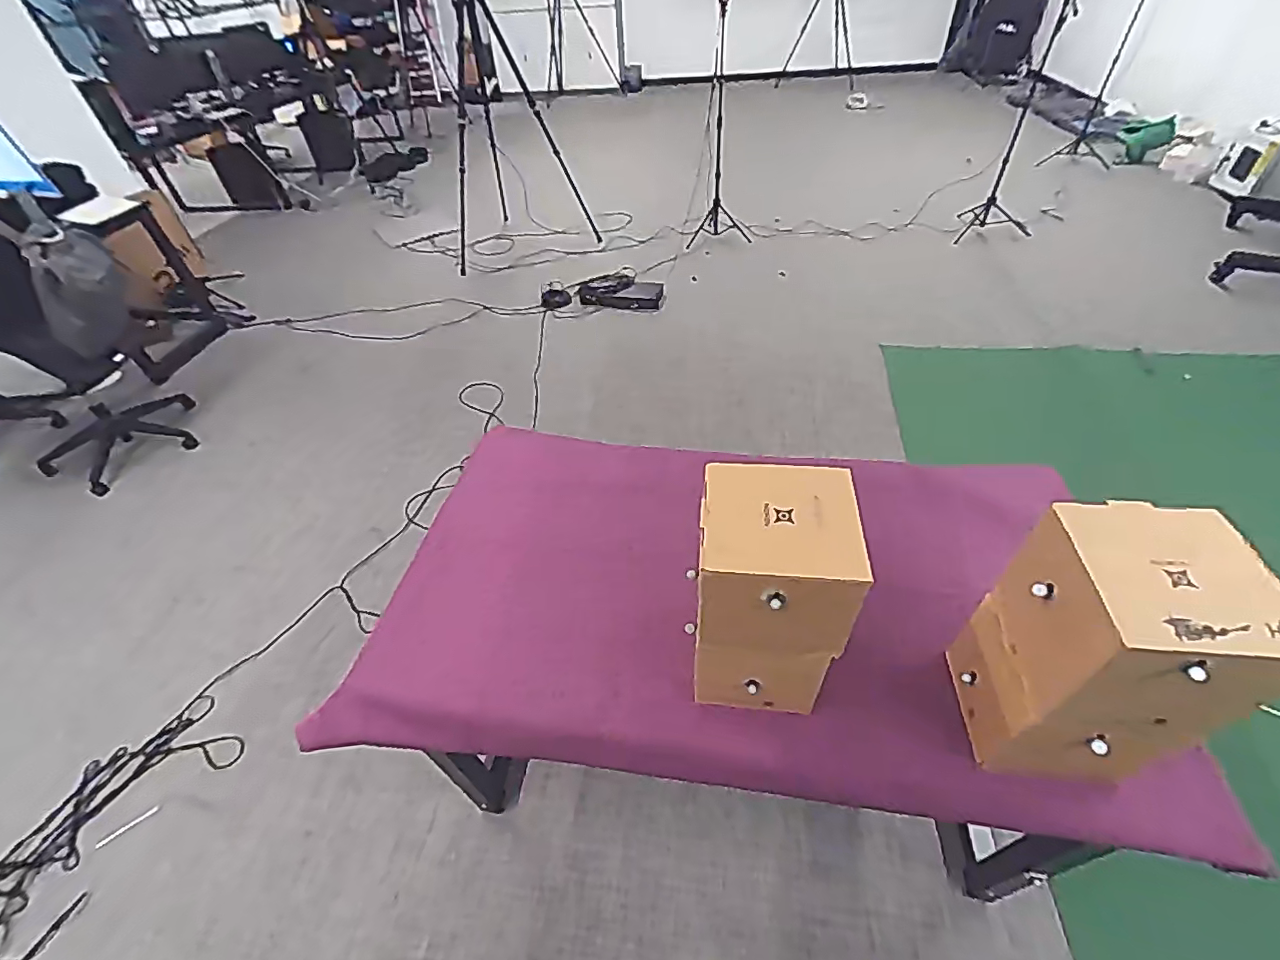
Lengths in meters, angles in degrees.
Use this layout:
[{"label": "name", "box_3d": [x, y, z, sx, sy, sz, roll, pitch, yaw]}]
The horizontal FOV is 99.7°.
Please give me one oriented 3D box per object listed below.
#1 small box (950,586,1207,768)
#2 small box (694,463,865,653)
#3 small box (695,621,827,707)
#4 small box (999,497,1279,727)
[{"label": "small box", "box_3d": [0.536, 0.255, 0.697, 0.179, 0.176, 0.168, 0, 46, 9]}, {"label": "small box", "box_3d": [0.160, 0.097, 0.667, 0.179, 0.176, 0.168, 2, 46, 9]}, {"label": "small box", "box_3d": [0.169, 0.208, 0.785, 0.168, 0.176, 0.179, 3, 44, 9]}, {"label": "small box", "box_3d": [0.524, 0.139, 0.581, 0.168, 0.176, 0.179, 0, 45, 10]}]
